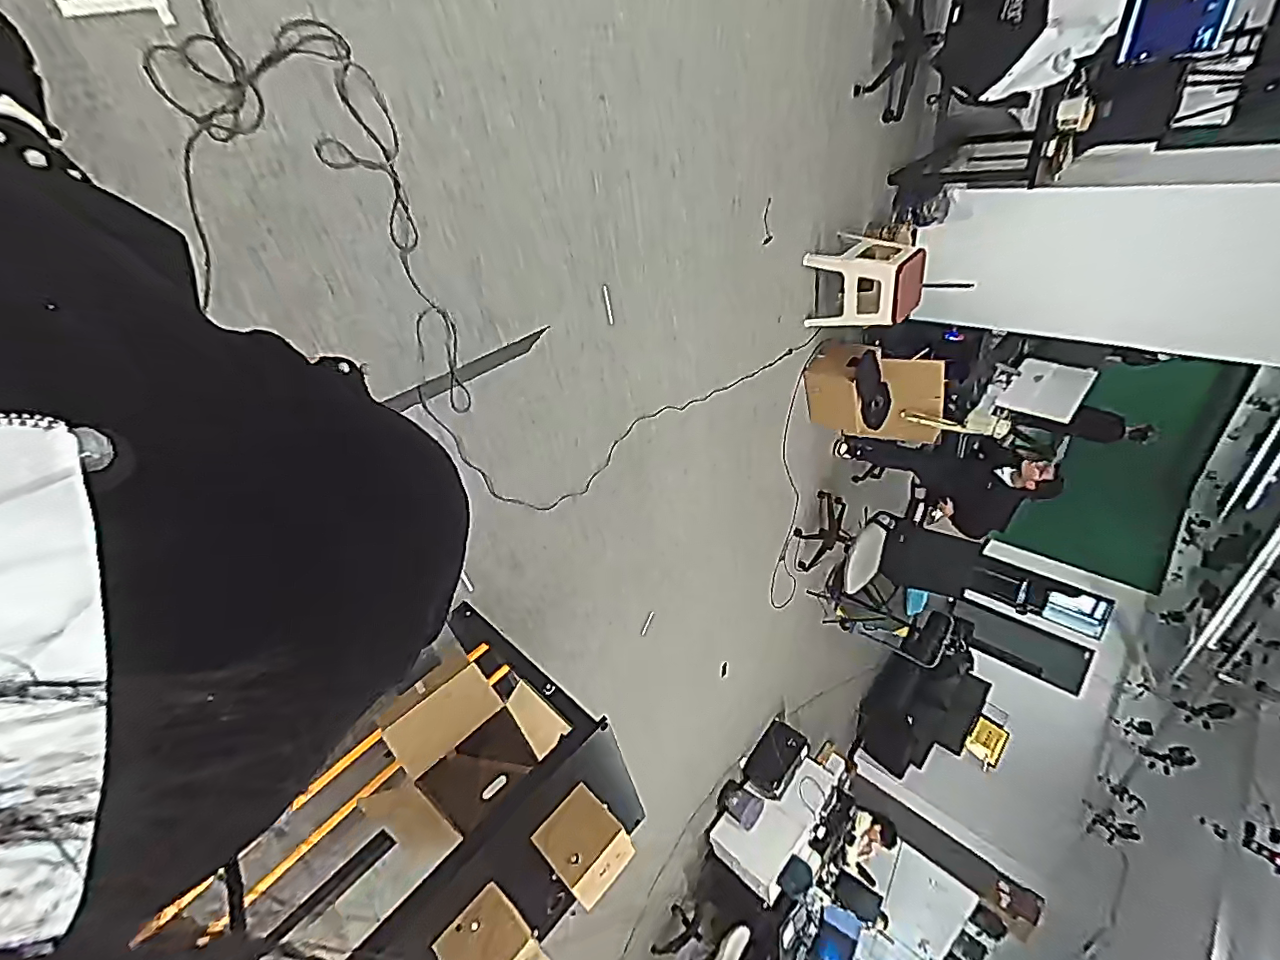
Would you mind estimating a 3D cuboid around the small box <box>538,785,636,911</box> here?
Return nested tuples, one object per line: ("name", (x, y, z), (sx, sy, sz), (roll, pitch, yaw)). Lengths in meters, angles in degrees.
("small box", (-0.142, 0.938, 1.387), (0.179, 0.176, 0.168), (-39, 134, -30))

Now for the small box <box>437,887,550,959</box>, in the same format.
("small box", (-0.335, 1.096, 1.248), (0.168, 0.176, 0.179), (-38, 132, -31))
